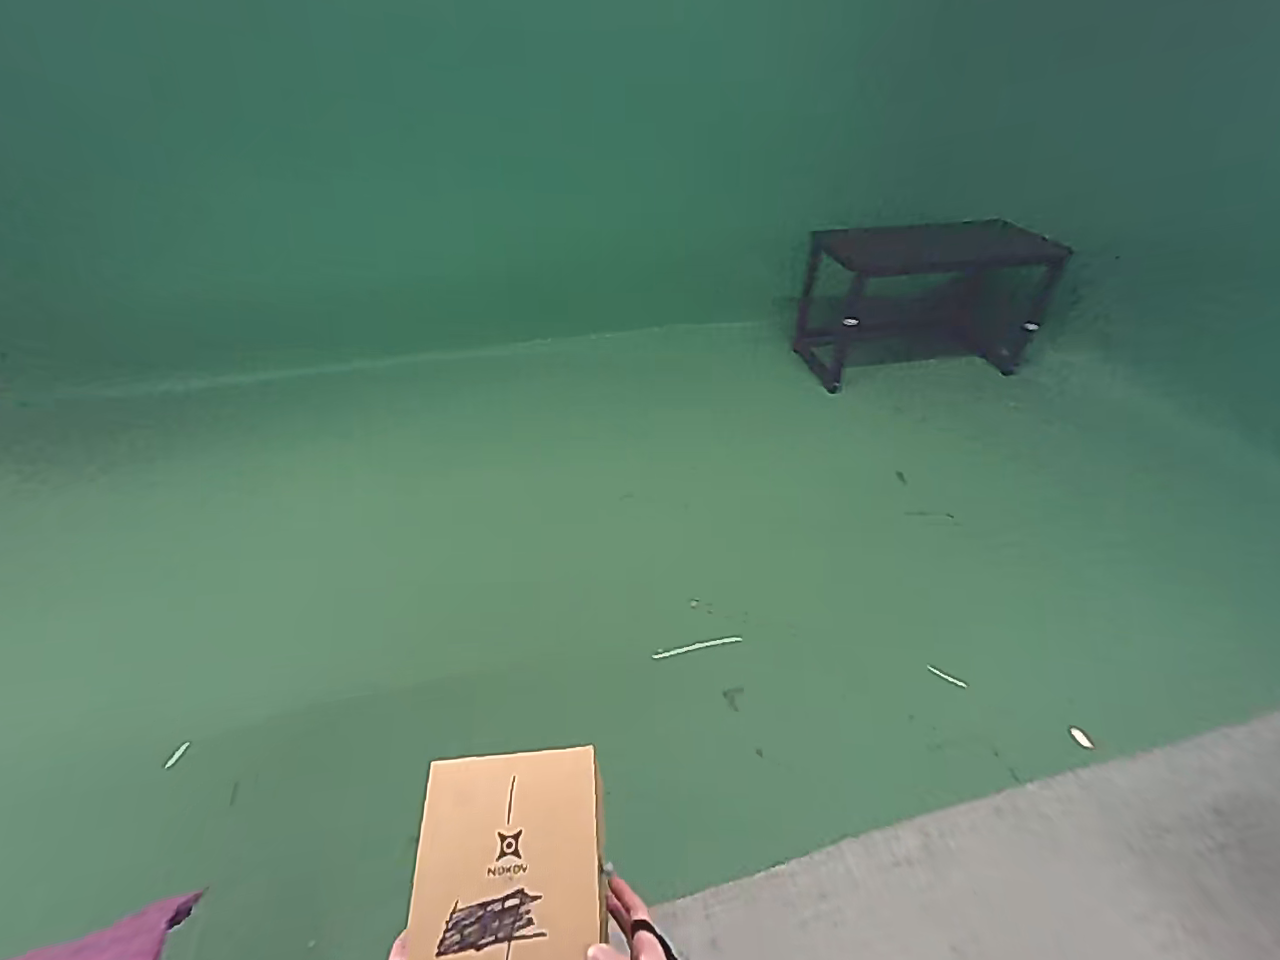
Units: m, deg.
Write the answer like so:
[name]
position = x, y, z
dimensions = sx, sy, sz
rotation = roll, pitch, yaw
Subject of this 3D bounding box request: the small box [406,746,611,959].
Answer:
[small box]
position = -0.116, 0.393, 0.557
dimensions = 0.168, 0.176, 0.179
rotation = -2, 49, -2
